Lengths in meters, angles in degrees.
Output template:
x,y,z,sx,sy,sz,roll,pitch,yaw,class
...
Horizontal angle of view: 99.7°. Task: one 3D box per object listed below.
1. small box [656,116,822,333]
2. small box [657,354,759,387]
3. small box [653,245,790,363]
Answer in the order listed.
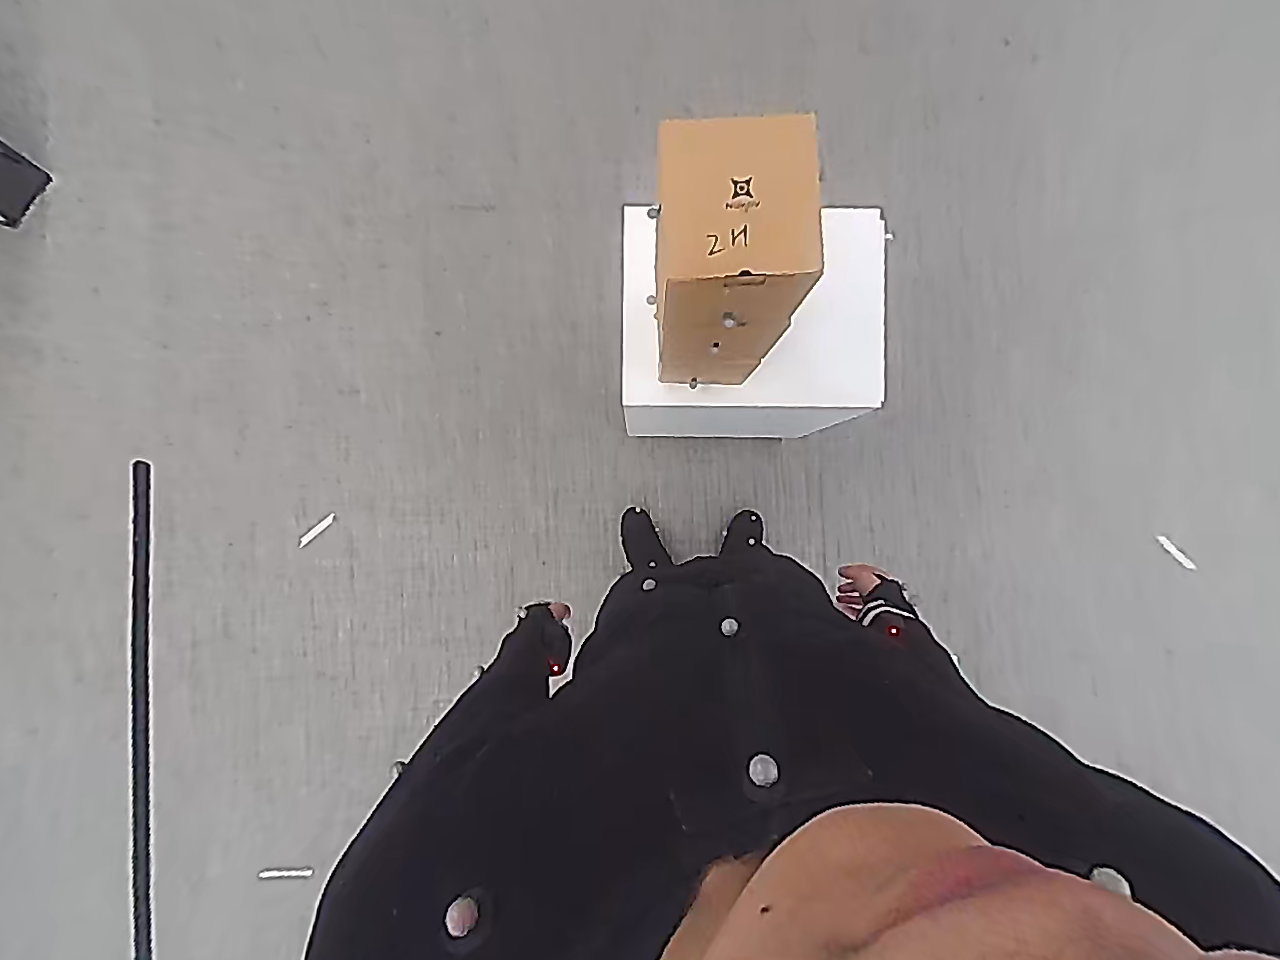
x,y,z,sx,sy,sz,roll,pitch,yaw,class
0.105,-0.290,0.645,0.168,0.176,0.179,-3,87,1,small box
0.117,-0.273,0.973,0.168,0.176,0.179,1,88,0,small box
0.112,-0.278,0.809,0.179,0.176,0.168,-3,87,1,small box
